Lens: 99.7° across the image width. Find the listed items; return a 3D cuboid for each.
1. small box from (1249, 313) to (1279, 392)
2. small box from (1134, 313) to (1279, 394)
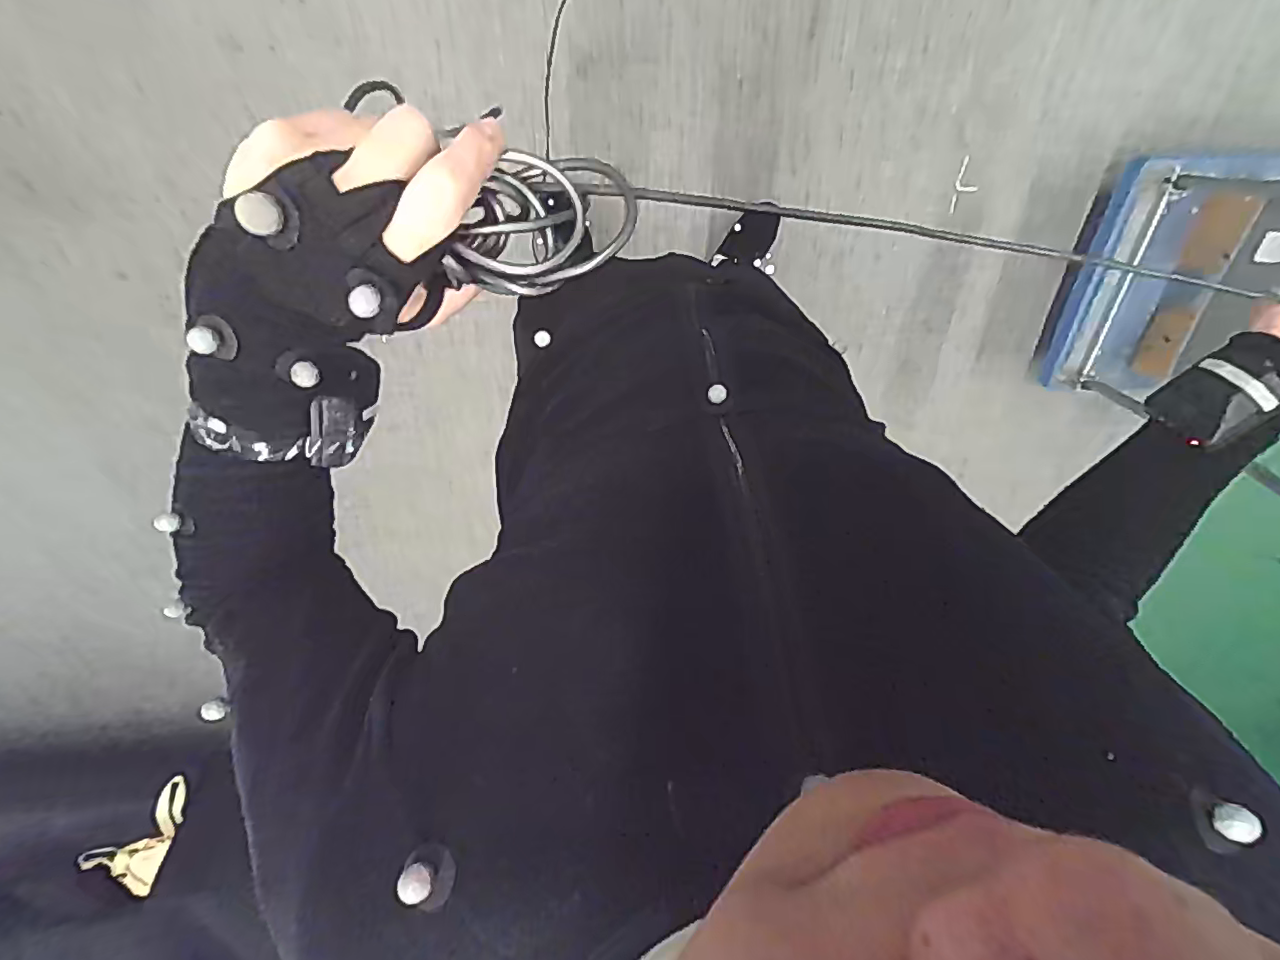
[{"bbox_3d":[1.734,-0.339,1.421,0.179,0.176,0.168,-4,121,-1],"label":"small box"},{"bbox_3d":[1.465,-0.332,1.403,0.179,0.176,0.168,0,122,-4],"label":"small box"}]
